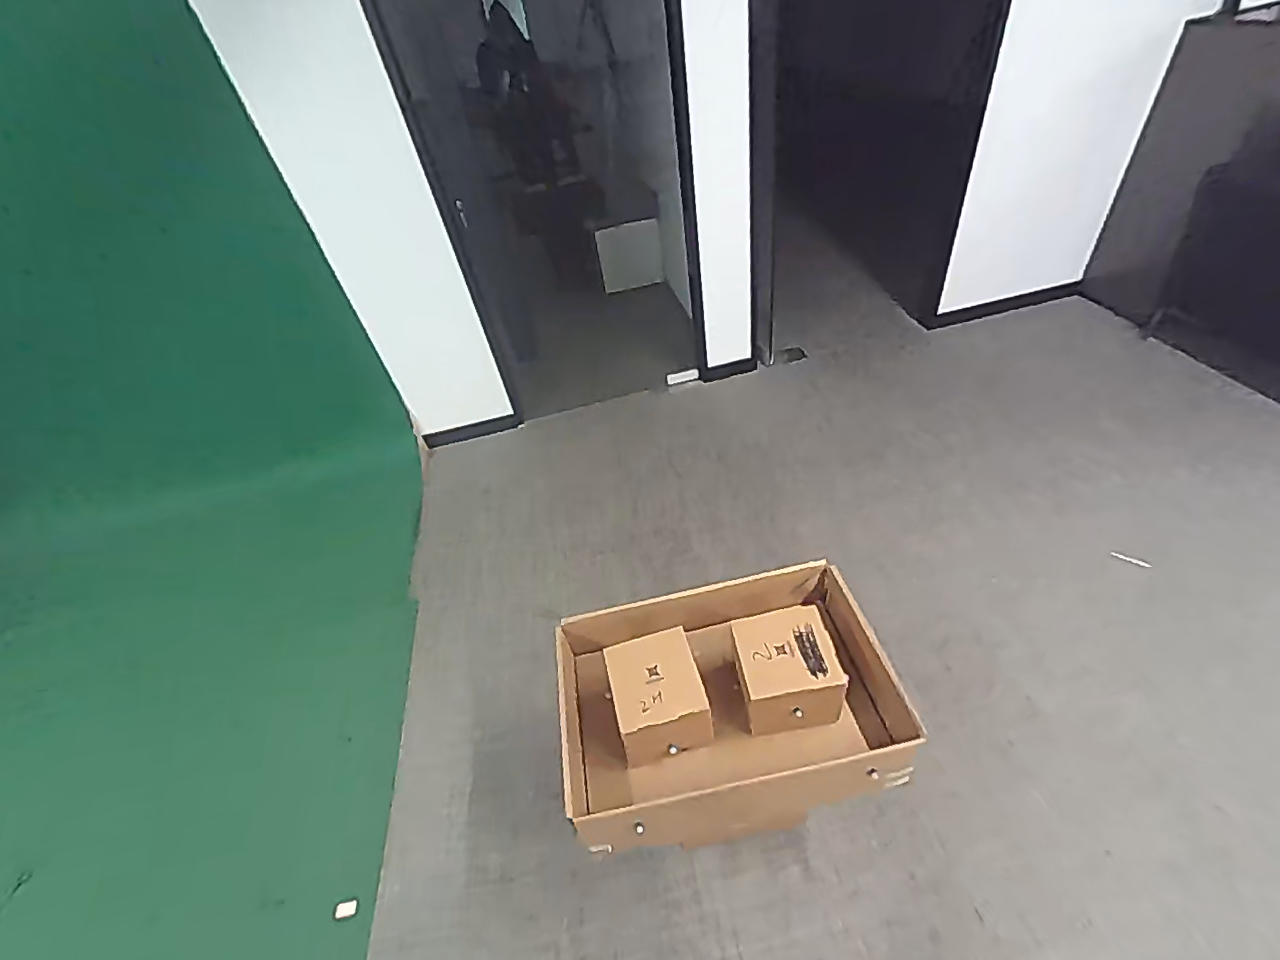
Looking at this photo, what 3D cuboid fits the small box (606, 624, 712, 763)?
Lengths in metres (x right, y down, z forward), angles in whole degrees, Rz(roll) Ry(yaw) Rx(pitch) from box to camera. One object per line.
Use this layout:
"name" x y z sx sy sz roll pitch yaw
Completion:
"small box" 0.037 0.419 1.060 0.168 0.176 0.179 -15 43 -4
